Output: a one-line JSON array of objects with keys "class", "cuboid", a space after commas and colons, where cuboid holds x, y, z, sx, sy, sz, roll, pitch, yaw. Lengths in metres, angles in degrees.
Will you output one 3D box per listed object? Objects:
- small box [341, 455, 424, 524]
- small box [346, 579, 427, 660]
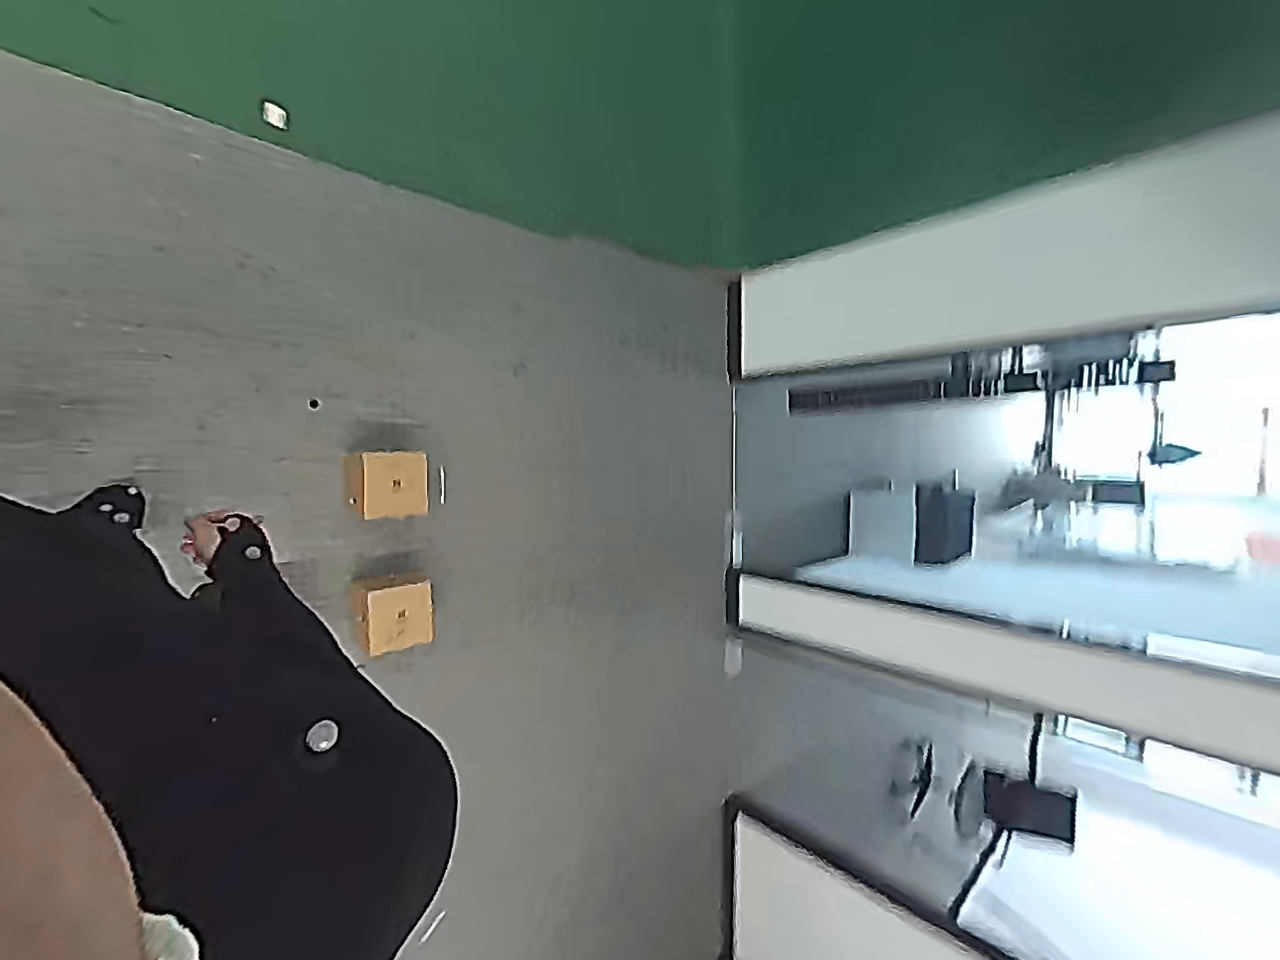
[{"class": "small box", "cuboid": [-0.711, 0.022, 1.493, 0.168, 0.176, 0.179, -1, 92, -44]}, {"class": "small box", "cuboid": [-0.711, 0.379, 1.510, 0.168, 0.176, 0.179, -2, 94, -43]}]
